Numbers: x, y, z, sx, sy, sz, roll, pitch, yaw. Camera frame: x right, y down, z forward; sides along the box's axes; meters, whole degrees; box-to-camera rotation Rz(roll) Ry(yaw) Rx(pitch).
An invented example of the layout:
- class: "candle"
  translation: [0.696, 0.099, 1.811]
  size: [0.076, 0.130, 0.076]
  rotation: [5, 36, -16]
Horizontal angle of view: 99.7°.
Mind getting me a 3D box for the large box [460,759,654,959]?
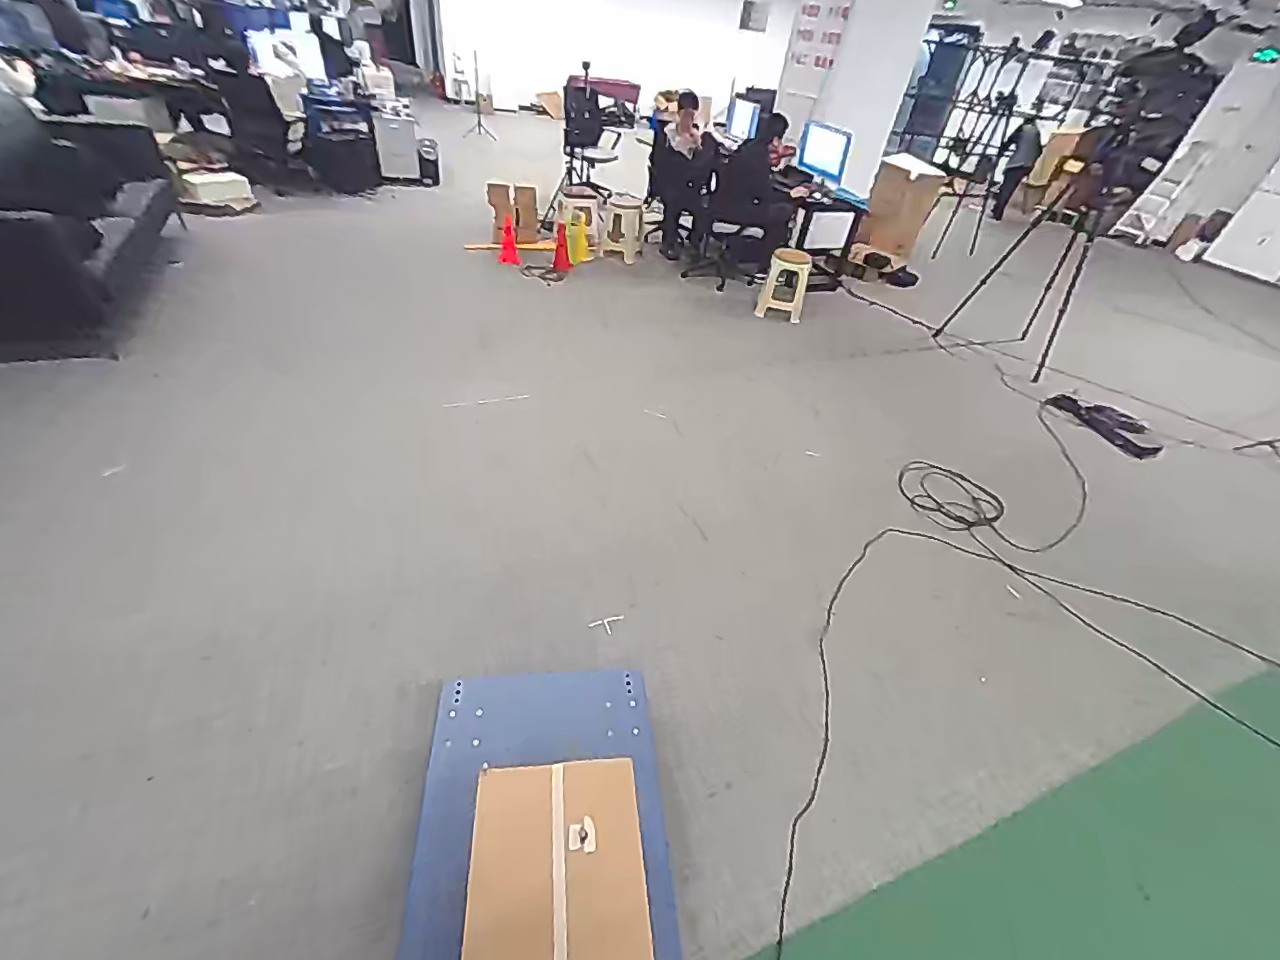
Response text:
- class: "large box"
  translation: [-0.164, 0.830, 1.056]
  size: [0.320, 0.320, 0.408]
  rotation: [1, 39, -11]
